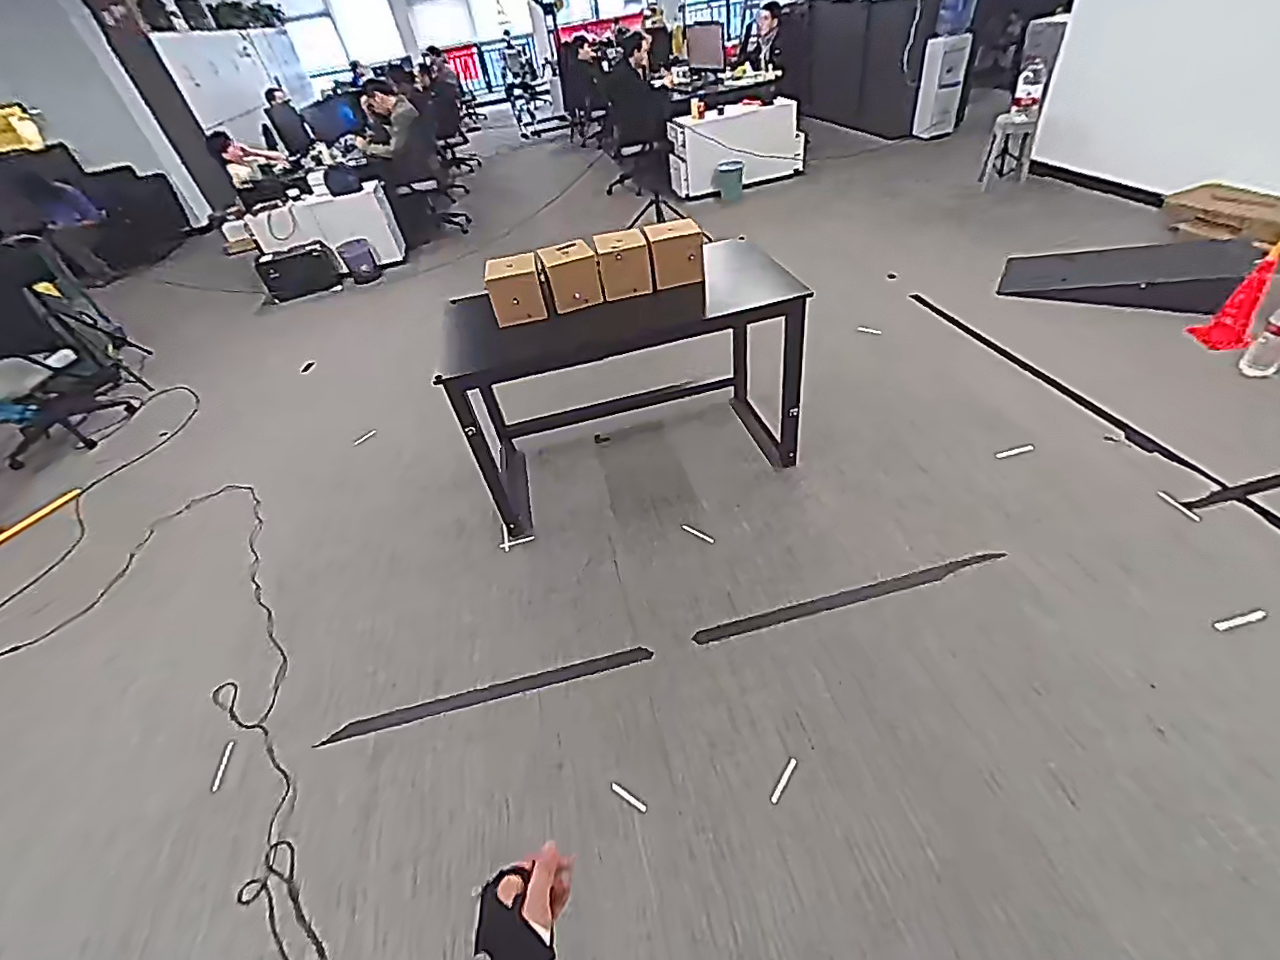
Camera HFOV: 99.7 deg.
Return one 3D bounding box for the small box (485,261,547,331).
[{"bbox_3d":[-0.421,-0.626,1.855,0.168,0.176,0.179,-12,41,-2],"label":"small box"}]
